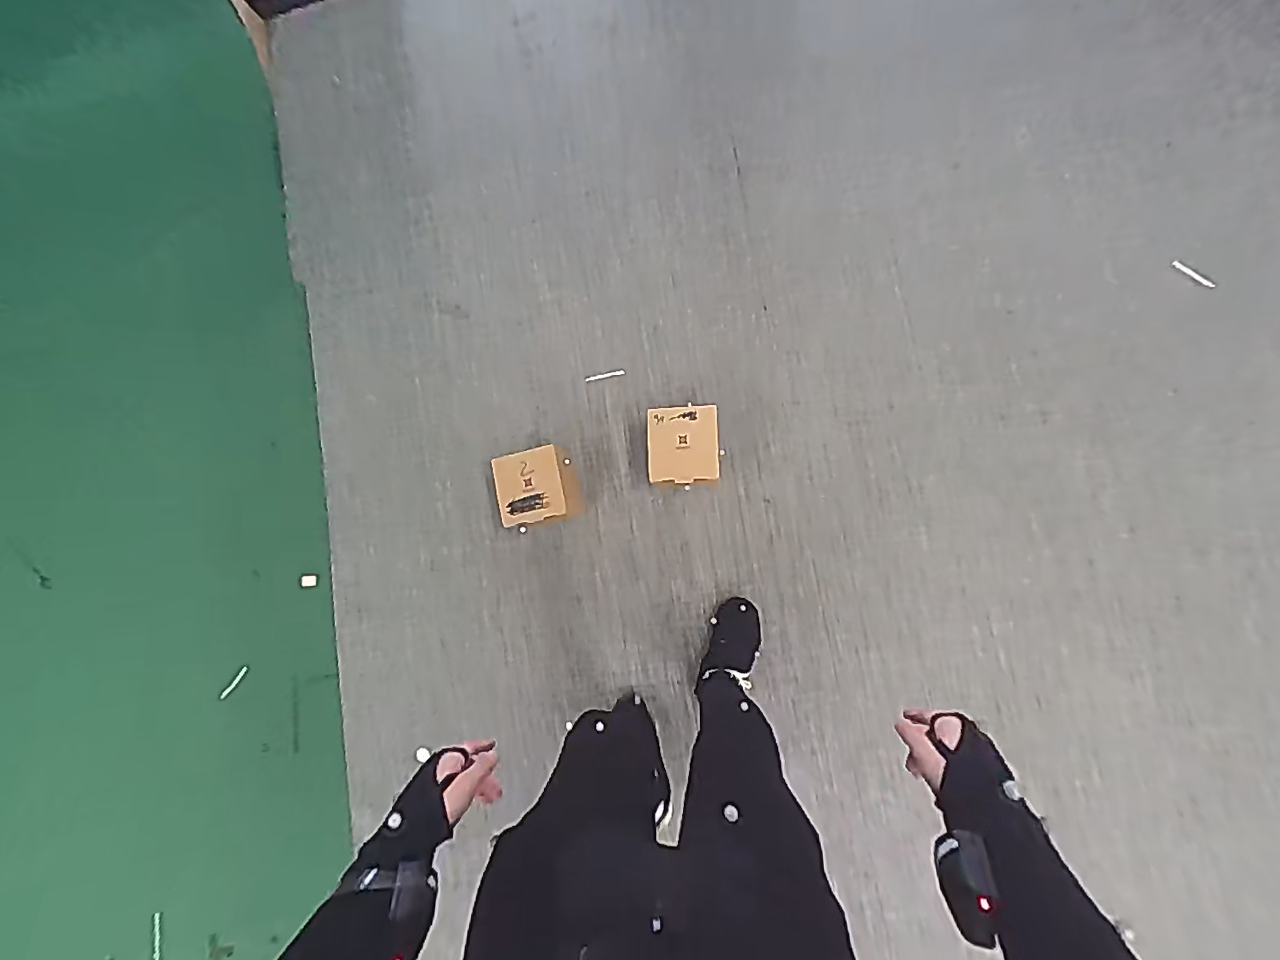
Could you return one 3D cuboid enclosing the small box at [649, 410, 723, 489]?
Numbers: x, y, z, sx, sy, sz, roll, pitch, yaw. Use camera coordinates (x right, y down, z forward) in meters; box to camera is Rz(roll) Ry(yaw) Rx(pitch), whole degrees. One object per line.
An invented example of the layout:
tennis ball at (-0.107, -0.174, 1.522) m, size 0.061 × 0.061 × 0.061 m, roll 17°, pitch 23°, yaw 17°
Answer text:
small box at (0.118, -0.067, 1.336) m, size 0.168 × 0.176 × 0.179 m, roll -3°, pitch 85°, yaw 9°
